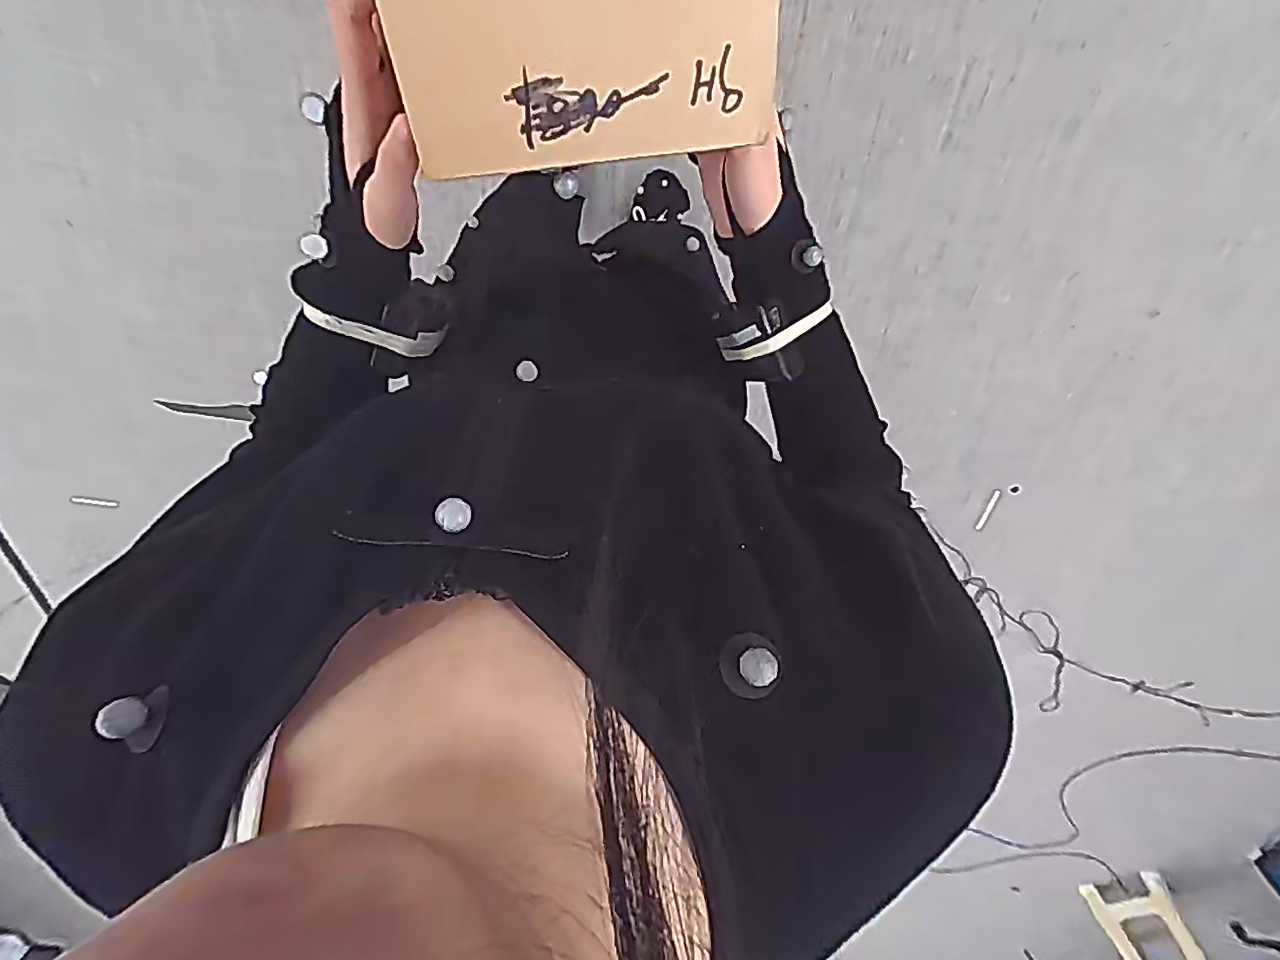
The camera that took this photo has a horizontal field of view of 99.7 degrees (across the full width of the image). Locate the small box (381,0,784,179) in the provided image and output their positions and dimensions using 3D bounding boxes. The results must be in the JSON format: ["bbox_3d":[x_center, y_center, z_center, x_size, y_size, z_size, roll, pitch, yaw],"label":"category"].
[{"bbox_3d":[-0.038,-0.258,0.266,0.168,0.176,0.179,-10,124,-7],"label":"small box"}]
